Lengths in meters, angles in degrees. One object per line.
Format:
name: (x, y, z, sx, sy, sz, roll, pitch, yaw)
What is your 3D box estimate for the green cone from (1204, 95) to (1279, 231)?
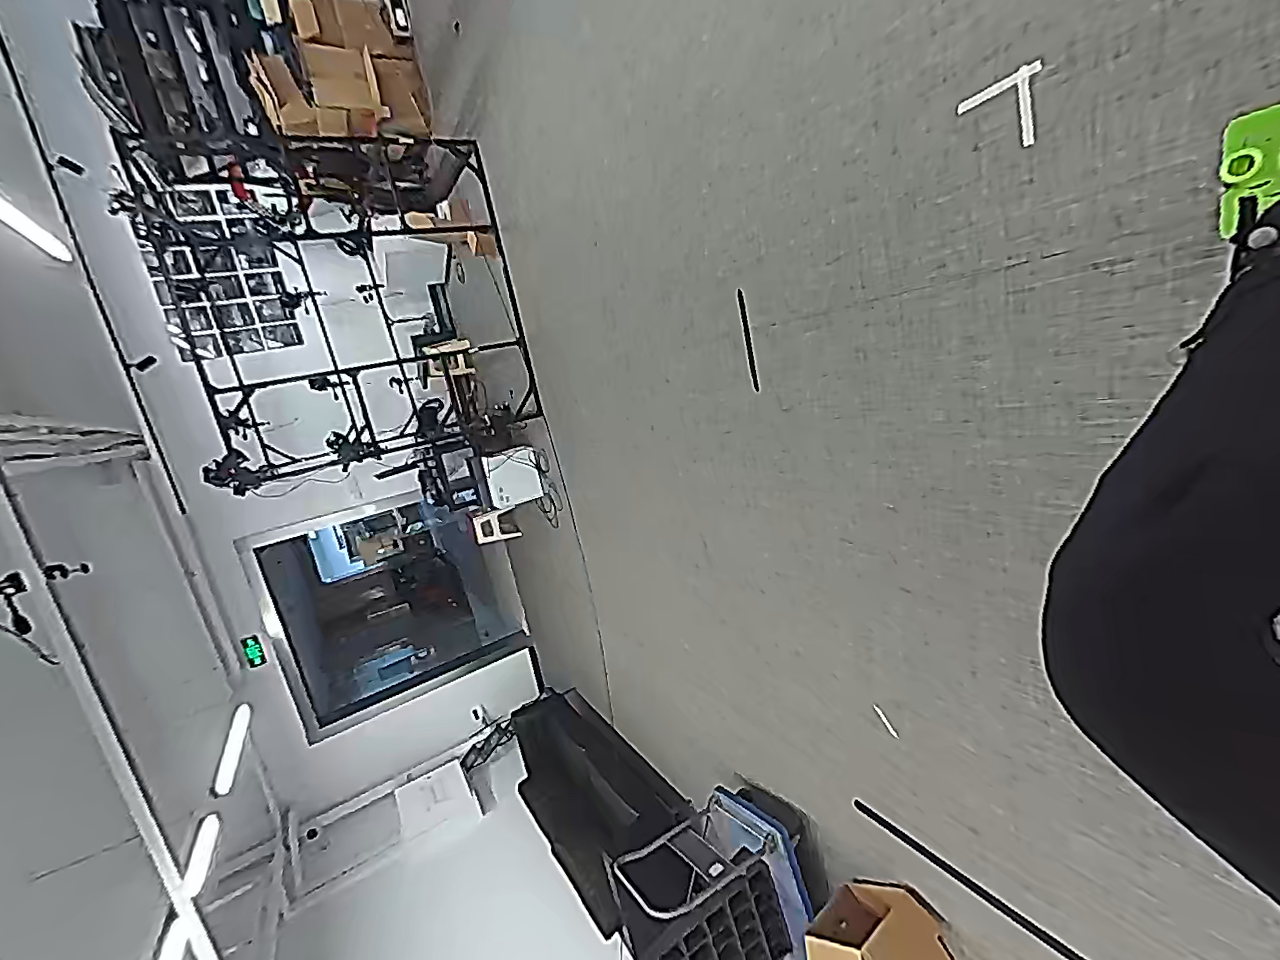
green cone: (0.932, -0.480, 0.793, 0.202, 0.368, 0.200, 11, 116, 61)
